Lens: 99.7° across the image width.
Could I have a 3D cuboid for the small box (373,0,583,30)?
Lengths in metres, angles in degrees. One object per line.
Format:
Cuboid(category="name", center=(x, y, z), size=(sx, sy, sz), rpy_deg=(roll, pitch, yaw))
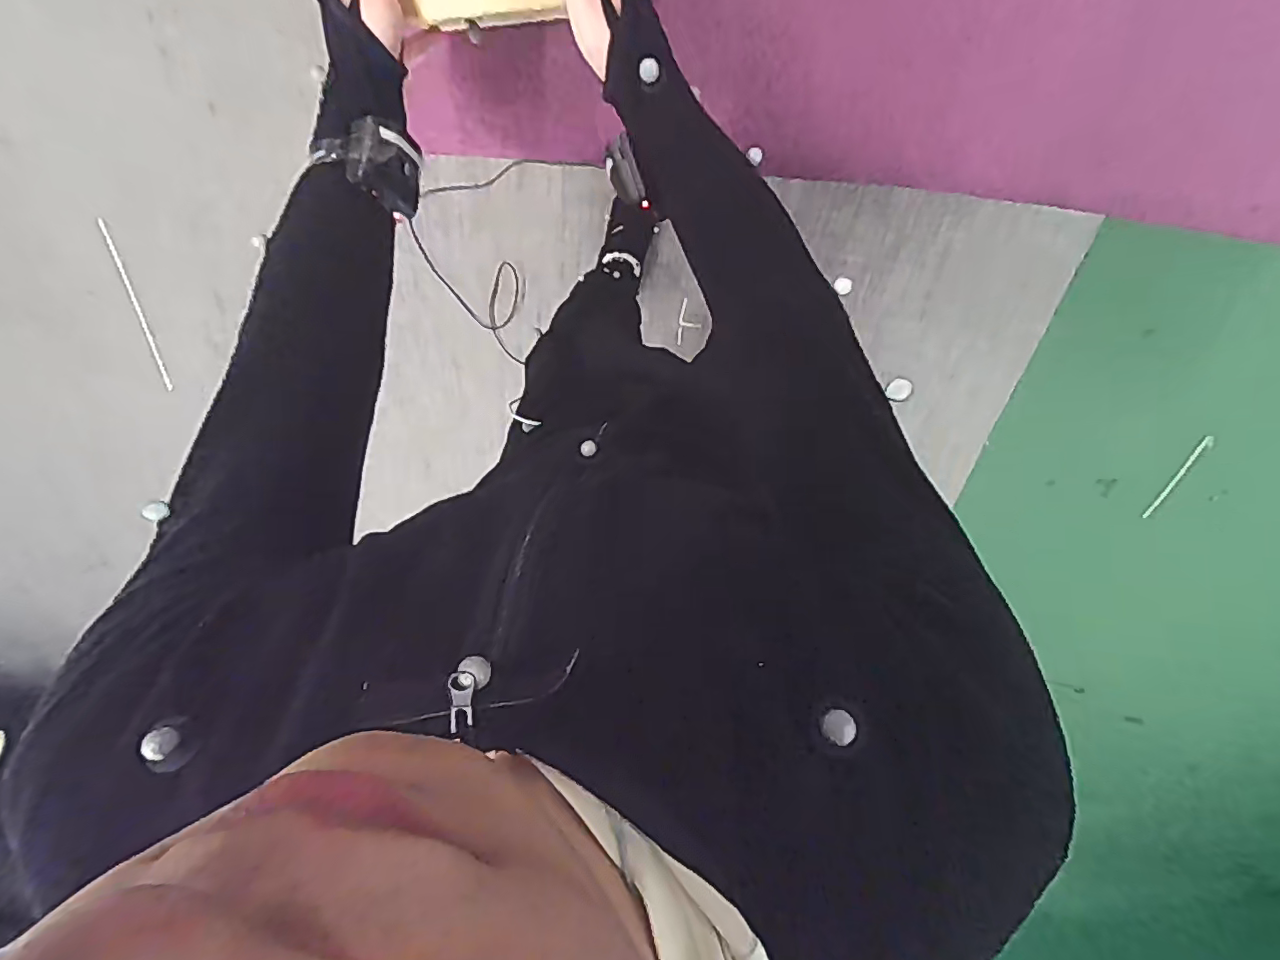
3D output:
Cuboid(category="small box", center=(-0.149, -0.517, 0.474), size=(0.168, 0.176, 0.179), rpy_deg=(-3, 125, 5))
